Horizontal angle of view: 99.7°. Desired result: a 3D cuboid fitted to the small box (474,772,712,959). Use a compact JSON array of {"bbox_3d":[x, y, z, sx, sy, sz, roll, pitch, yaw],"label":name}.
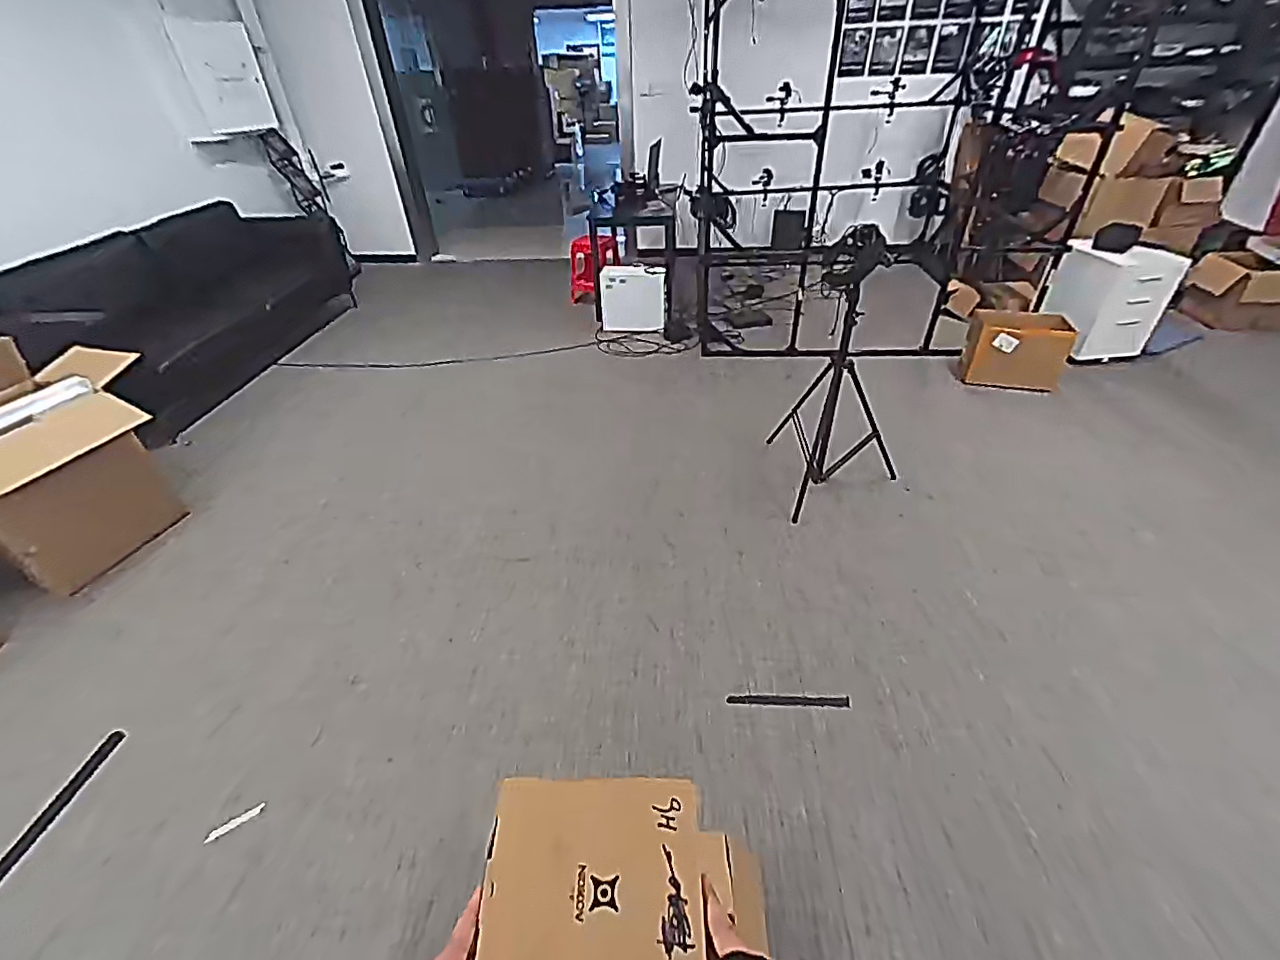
[{"bbox_3d":[-0.036,0.376,0.479,0.179,0.176,0.168,1,44,-2],"label":"small box"}]
